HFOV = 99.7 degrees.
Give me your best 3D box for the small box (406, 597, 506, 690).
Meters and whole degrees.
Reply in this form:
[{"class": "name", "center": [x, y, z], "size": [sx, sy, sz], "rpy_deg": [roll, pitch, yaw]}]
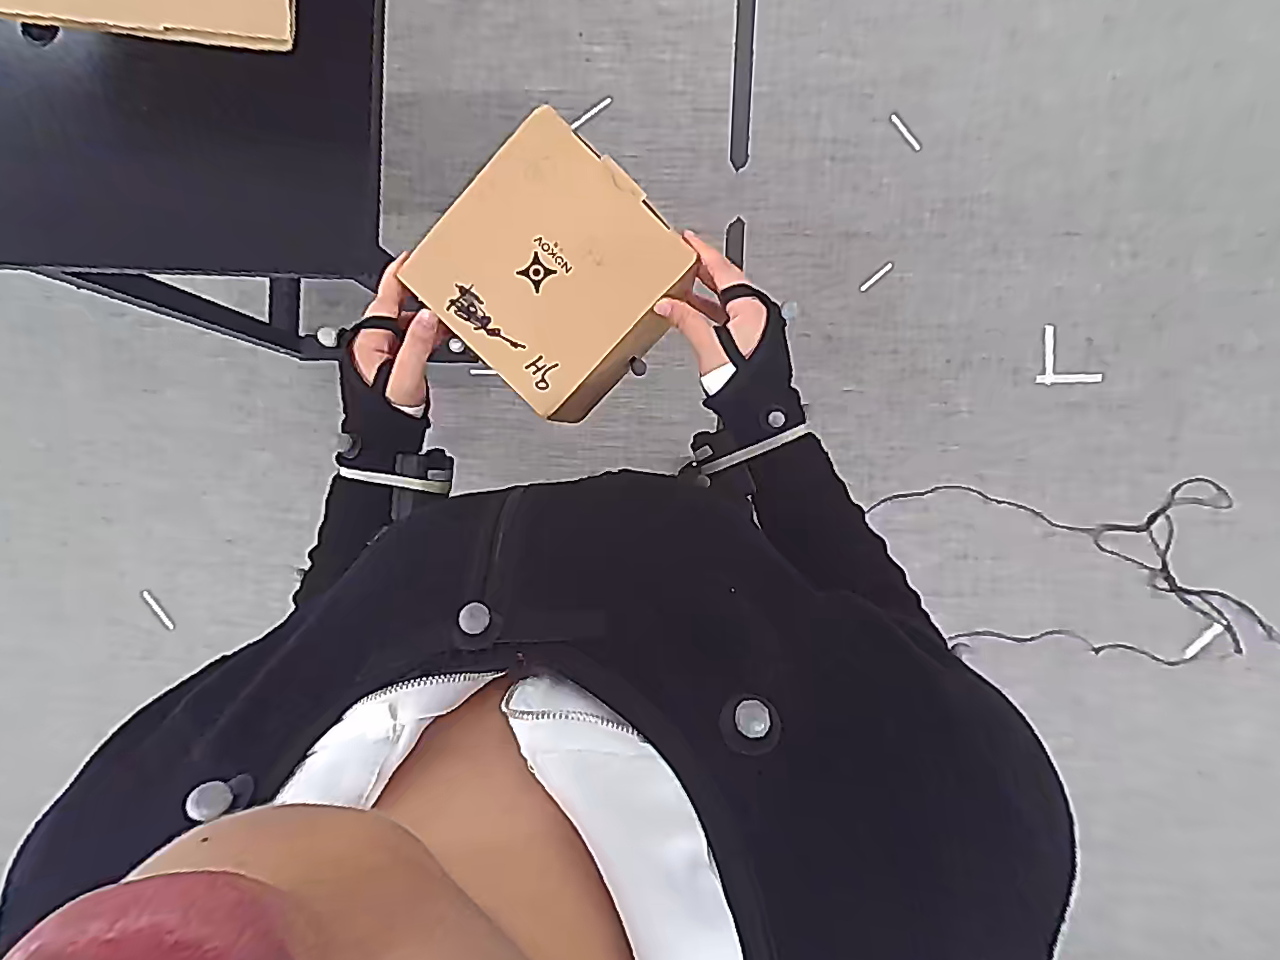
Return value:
[{"class": "small box", "center": [-0.423, 0.377, 1.273], "size": [0.179, 0.176, 0.168], "rpy_deg": [-5, 89, 3]}]
